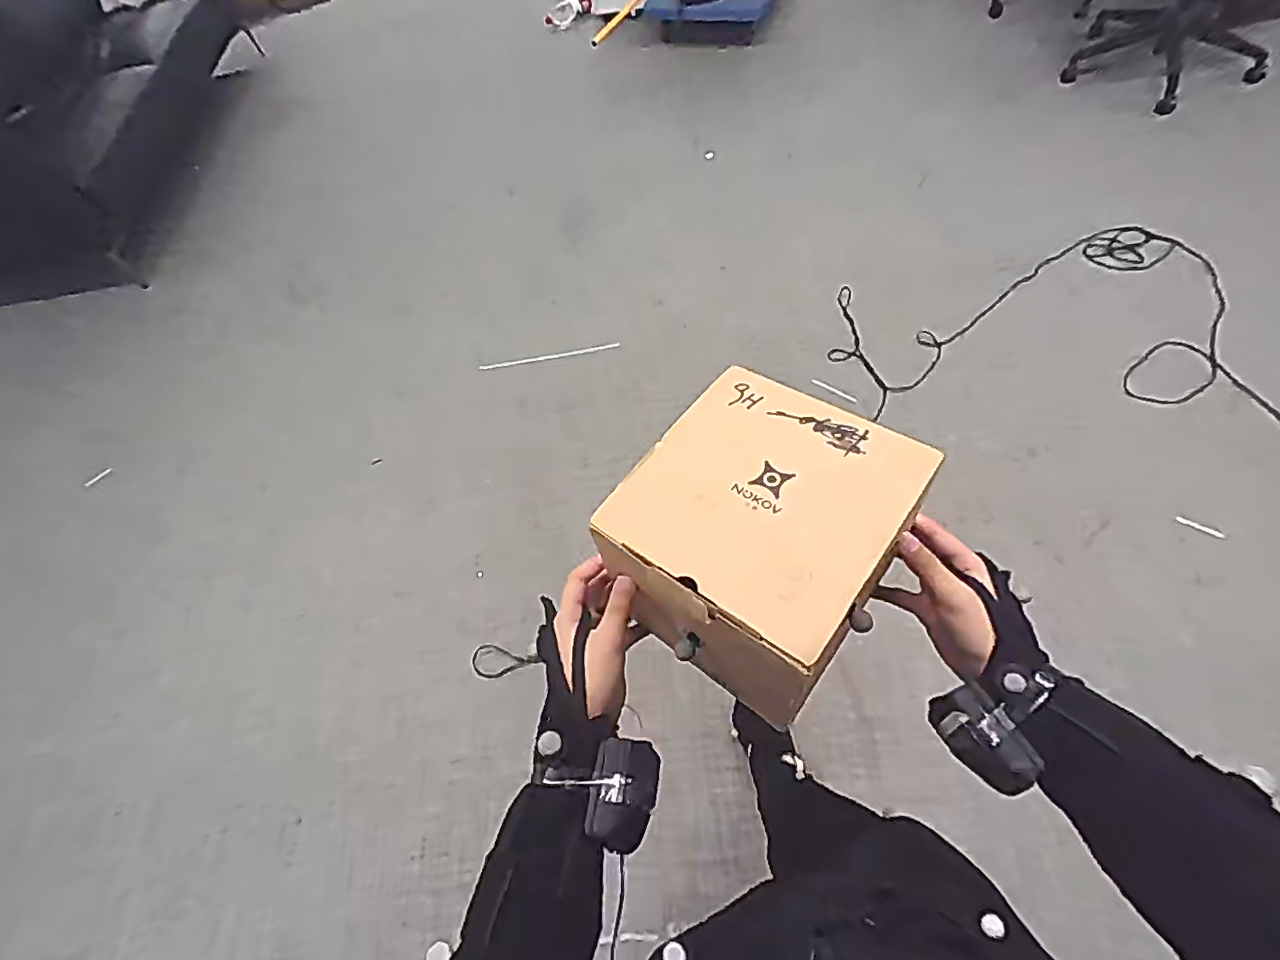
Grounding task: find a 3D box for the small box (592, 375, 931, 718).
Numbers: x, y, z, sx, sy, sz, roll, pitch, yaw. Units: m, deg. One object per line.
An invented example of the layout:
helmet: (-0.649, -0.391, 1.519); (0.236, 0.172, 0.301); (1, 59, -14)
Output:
small box: (0.093, 0.056, 0.429); (0.168, 0.176, 0.179); (31, 65, 27)
